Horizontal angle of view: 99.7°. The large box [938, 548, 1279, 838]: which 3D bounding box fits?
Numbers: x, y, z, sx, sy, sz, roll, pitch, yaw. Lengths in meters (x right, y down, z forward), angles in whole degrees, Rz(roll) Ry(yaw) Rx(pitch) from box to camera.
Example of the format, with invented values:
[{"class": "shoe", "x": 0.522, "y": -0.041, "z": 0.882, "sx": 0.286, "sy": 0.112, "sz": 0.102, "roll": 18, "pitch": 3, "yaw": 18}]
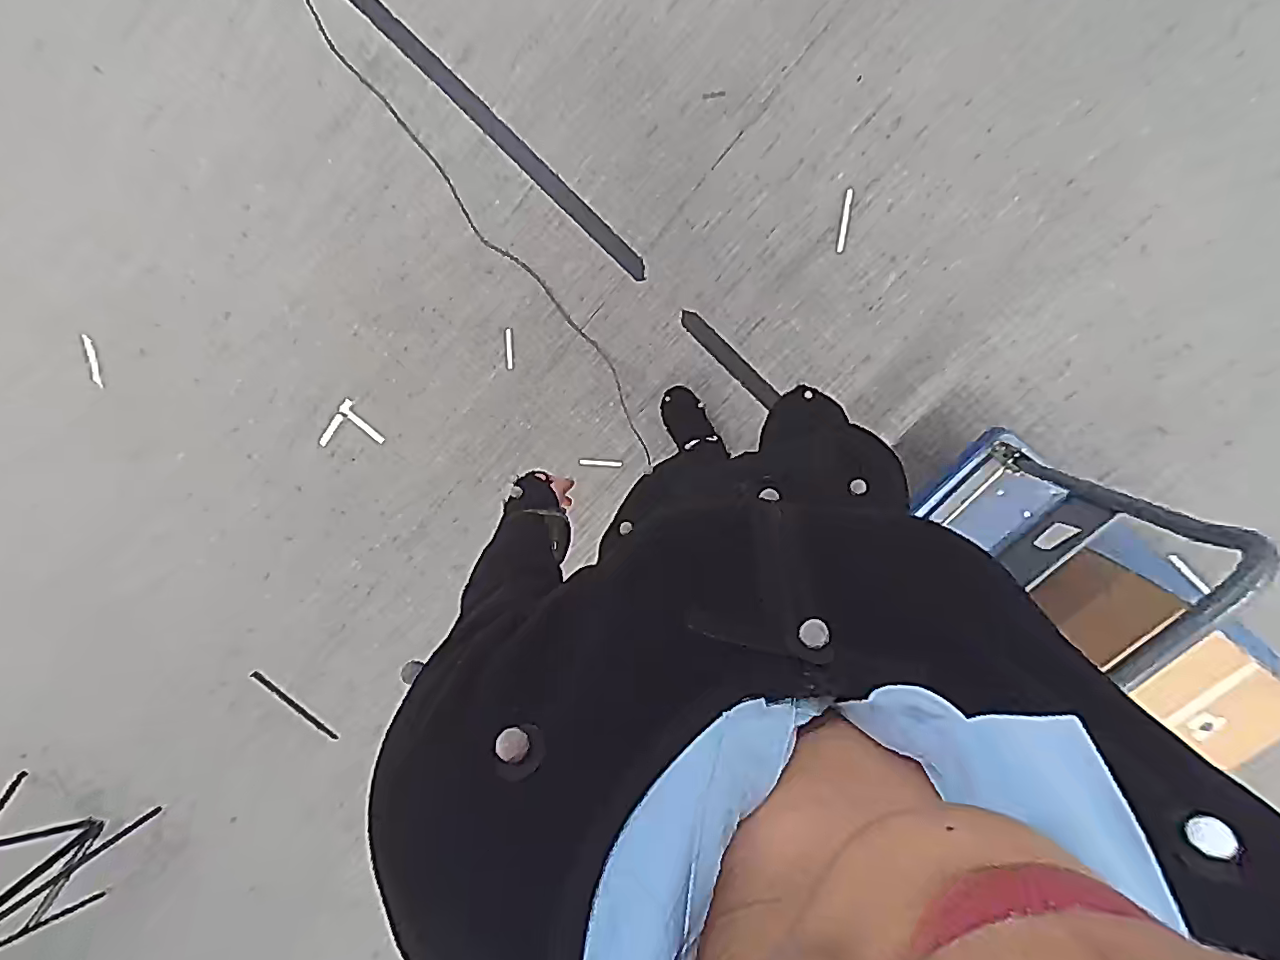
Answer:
[{"class": "large box", "x": 0.940, "y": 0.422, "z": 1.137, "sx": 0.320, "sy": 0.320, "sz": 0.408, "roll": 40, "pitch": 103, "yaw": -4}]
